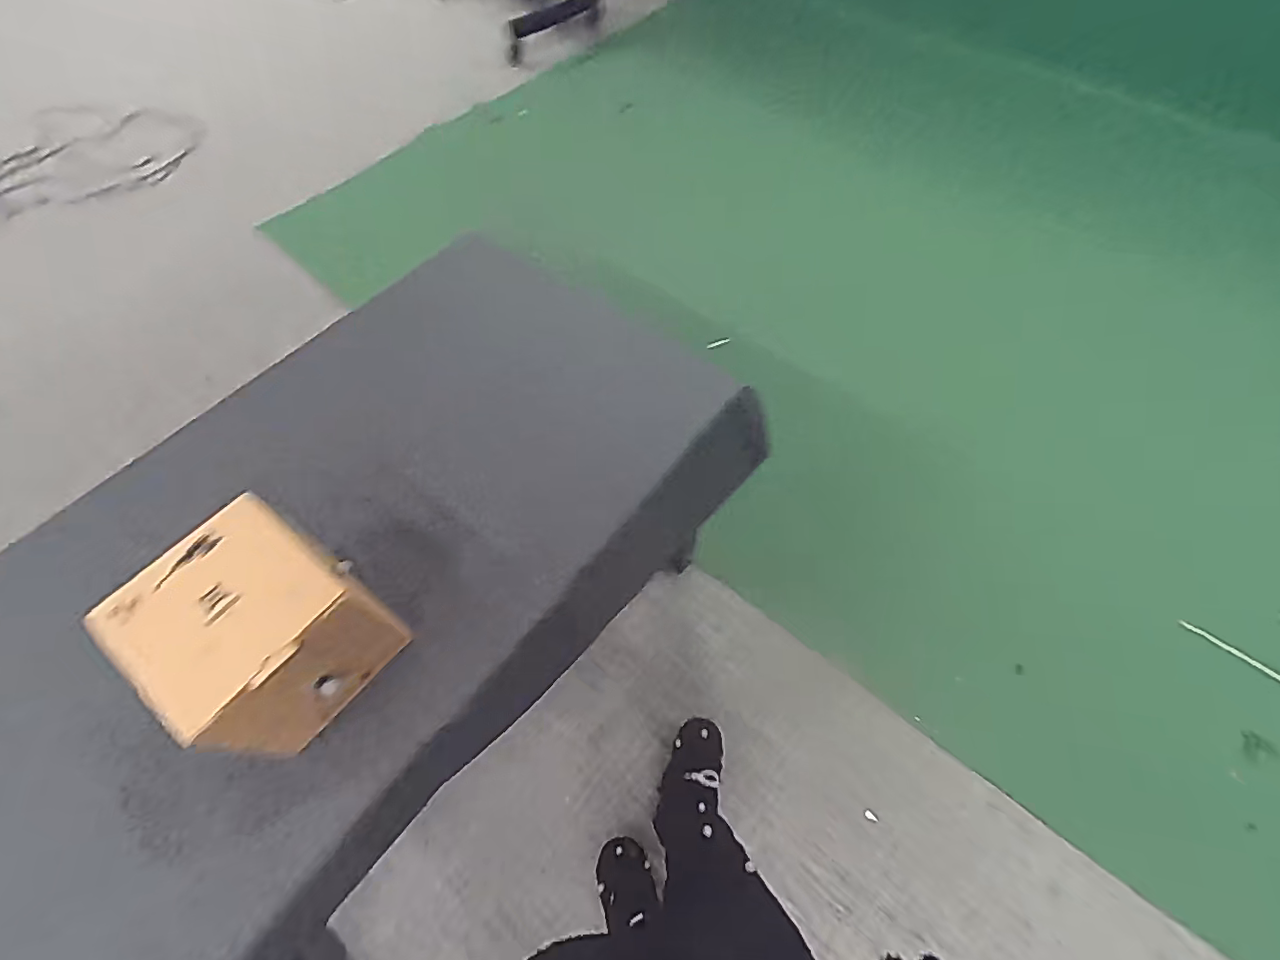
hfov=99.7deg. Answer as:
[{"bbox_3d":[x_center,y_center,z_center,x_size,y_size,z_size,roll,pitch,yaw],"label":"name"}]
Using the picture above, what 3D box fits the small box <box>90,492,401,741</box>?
[{"bbox_3d":[-0.393,0.151,0.575,0.179,0.176,0.168,35,66,17],"label":"small box"}]
